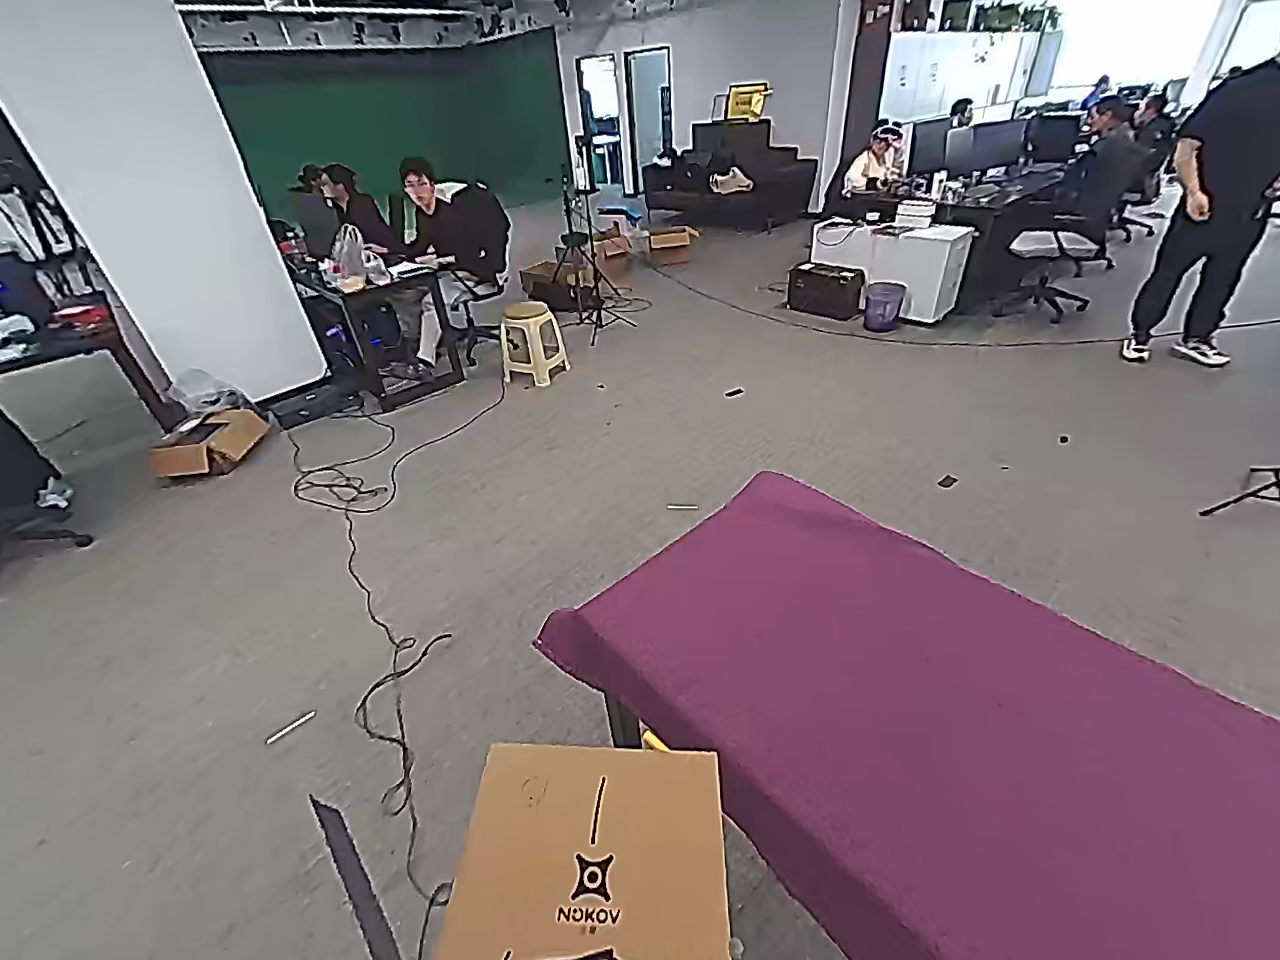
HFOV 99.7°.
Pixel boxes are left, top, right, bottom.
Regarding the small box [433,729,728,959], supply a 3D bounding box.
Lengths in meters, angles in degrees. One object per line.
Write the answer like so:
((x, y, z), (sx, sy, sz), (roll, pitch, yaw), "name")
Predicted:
((-0.029, 0.301, 0.375), (0.168, 0.176, 0.179), (2, 39, 2), "small box")
